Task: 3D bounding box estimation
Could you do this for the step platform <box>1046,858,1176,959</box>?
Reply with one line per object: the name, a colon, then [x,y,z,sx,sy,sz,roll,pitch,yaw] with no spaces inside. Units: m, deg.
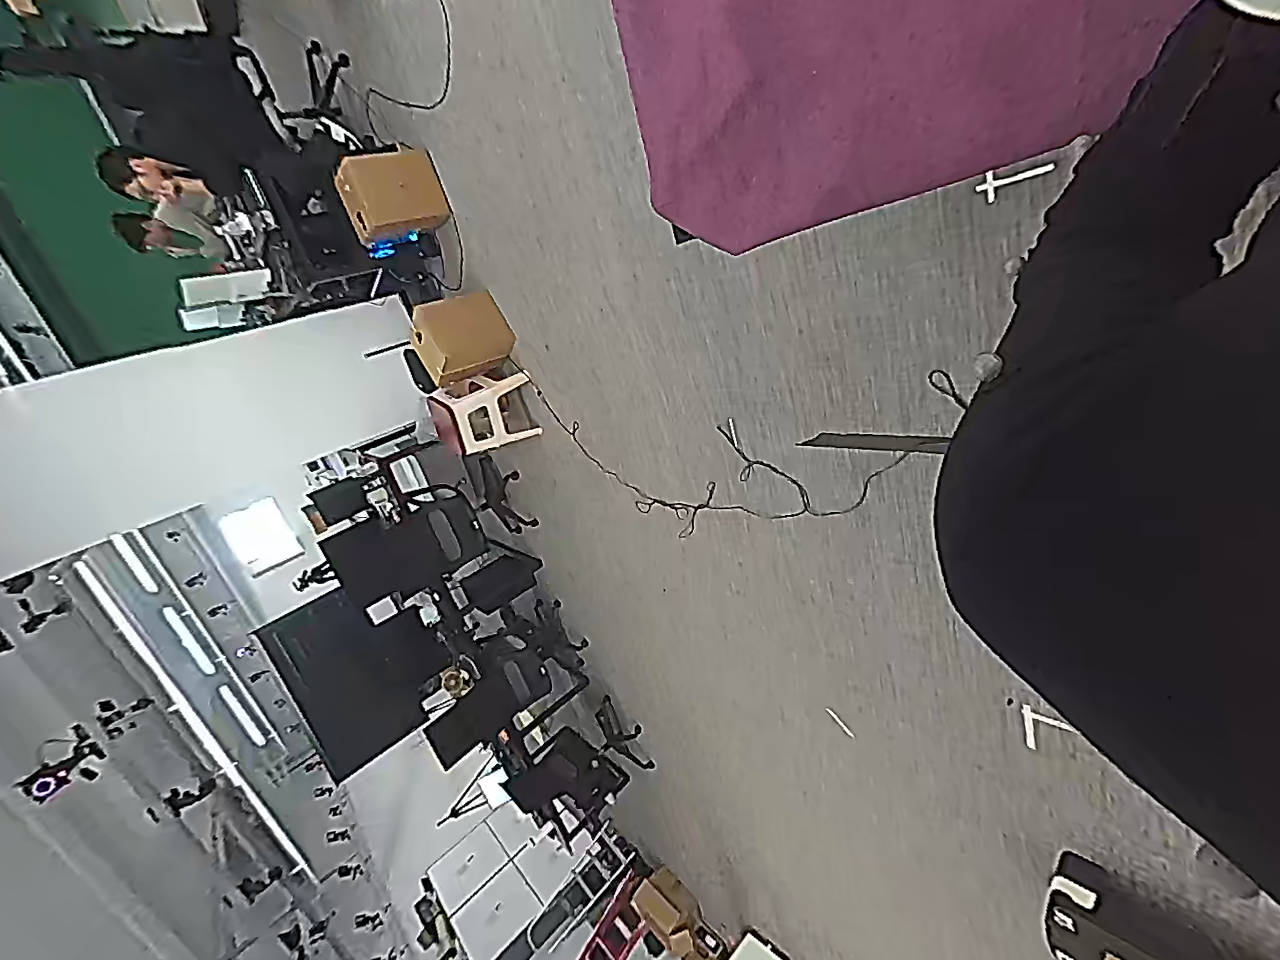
step platform: [1.534,1.391,1.474,0.684,0.204,0.286,7,122,50]
